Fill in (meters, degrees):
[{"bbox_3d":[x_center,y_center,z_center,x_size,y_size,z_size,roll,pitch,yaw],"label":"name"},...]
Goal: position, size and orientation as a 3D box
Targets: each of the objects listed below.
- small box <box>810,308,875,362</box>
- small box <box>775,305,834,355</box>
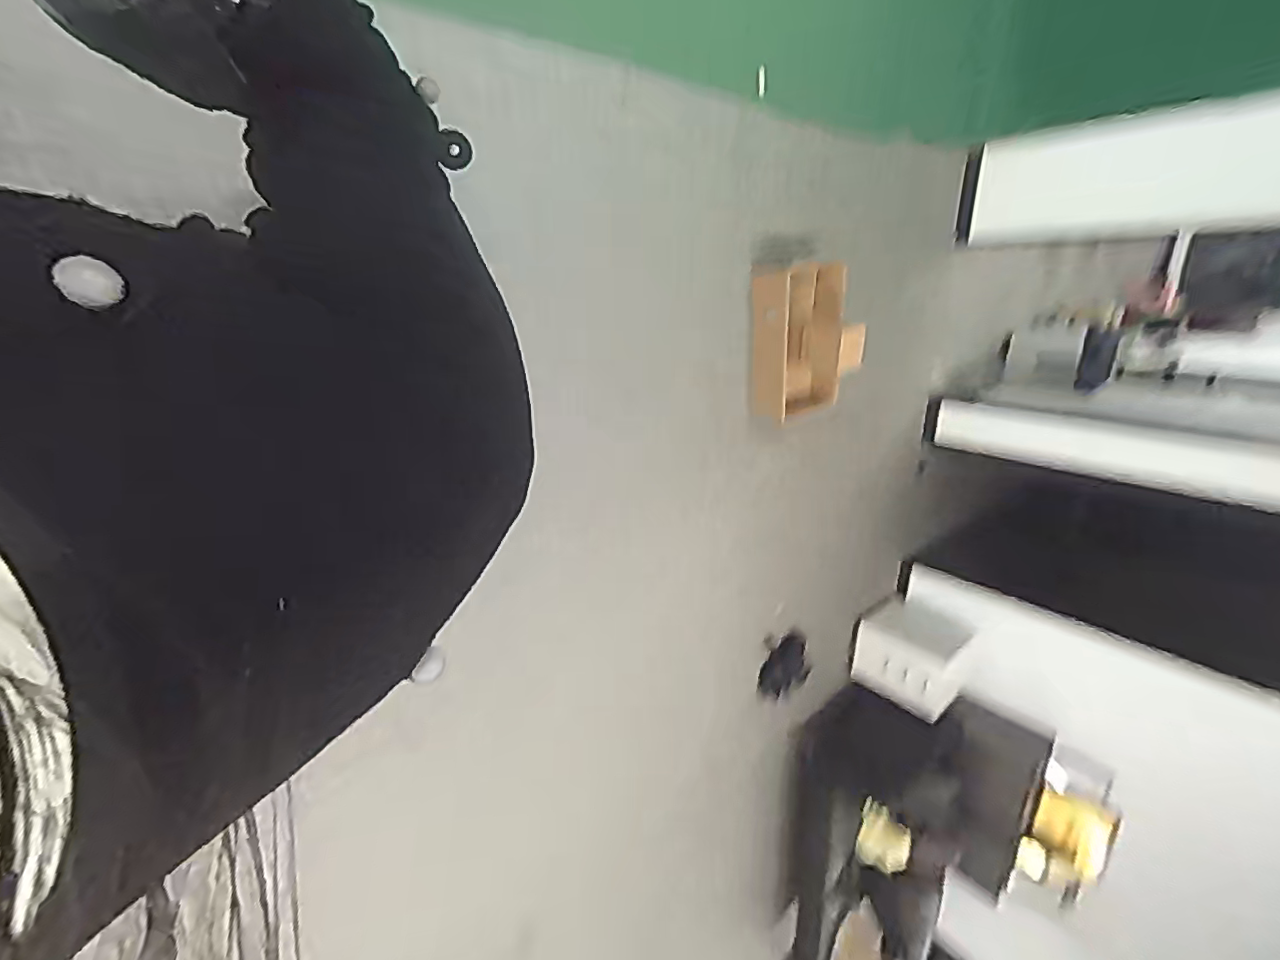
[{"bbox_3d":[0.773,-0.560,2.075,0.179,0.176,0.168,-25,121,-32],"label":"small box"},{"bbox_3d":[0.668,-0.618,2.207,0.168,0.176,0.179,-20,117,-36],"label":"small box"}]
